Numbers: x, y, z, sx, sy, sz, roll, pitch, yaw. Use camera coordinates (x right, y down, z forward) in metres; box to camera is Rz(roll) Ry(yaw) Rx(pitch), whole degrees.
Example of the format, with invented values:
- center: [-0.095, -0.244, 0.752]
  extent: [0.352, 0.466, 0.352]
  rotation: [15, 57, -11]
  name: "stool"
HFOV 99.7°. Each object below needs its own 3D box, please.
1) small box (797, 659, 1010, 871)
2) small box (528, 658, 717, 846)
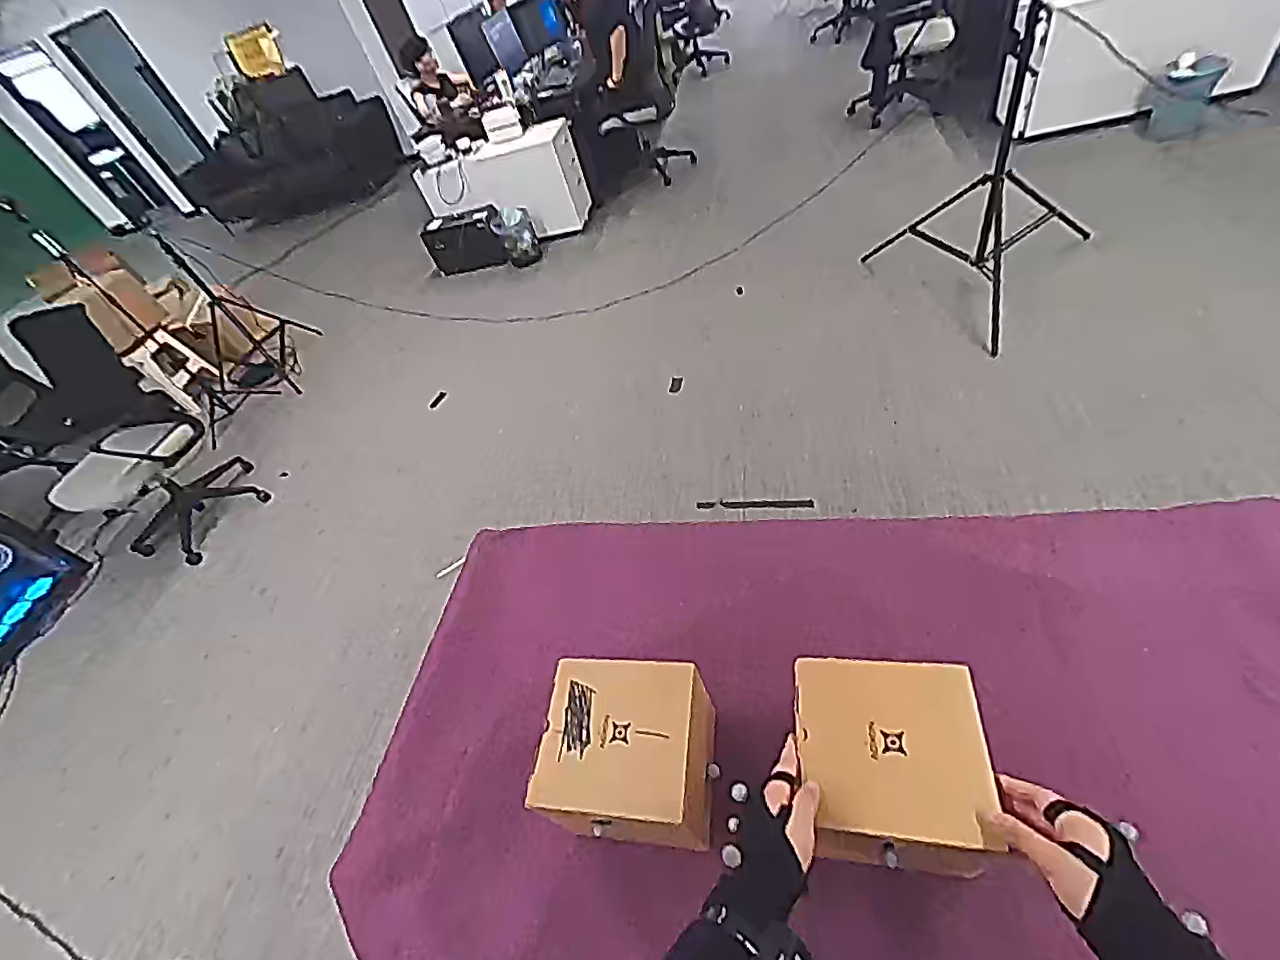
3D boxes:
- center: [0.267, 0.313, 0.593]
  extent: [0.179, 0.176, 0.168]
  rotation: [-3, 49, 17]
  name: "small box"
- center: [-0.008, 0.335, 0.668]
  extent: [0.179, 0.176, 0.168]
  rotation: [-3, 49, 16]
  name: "small box"
